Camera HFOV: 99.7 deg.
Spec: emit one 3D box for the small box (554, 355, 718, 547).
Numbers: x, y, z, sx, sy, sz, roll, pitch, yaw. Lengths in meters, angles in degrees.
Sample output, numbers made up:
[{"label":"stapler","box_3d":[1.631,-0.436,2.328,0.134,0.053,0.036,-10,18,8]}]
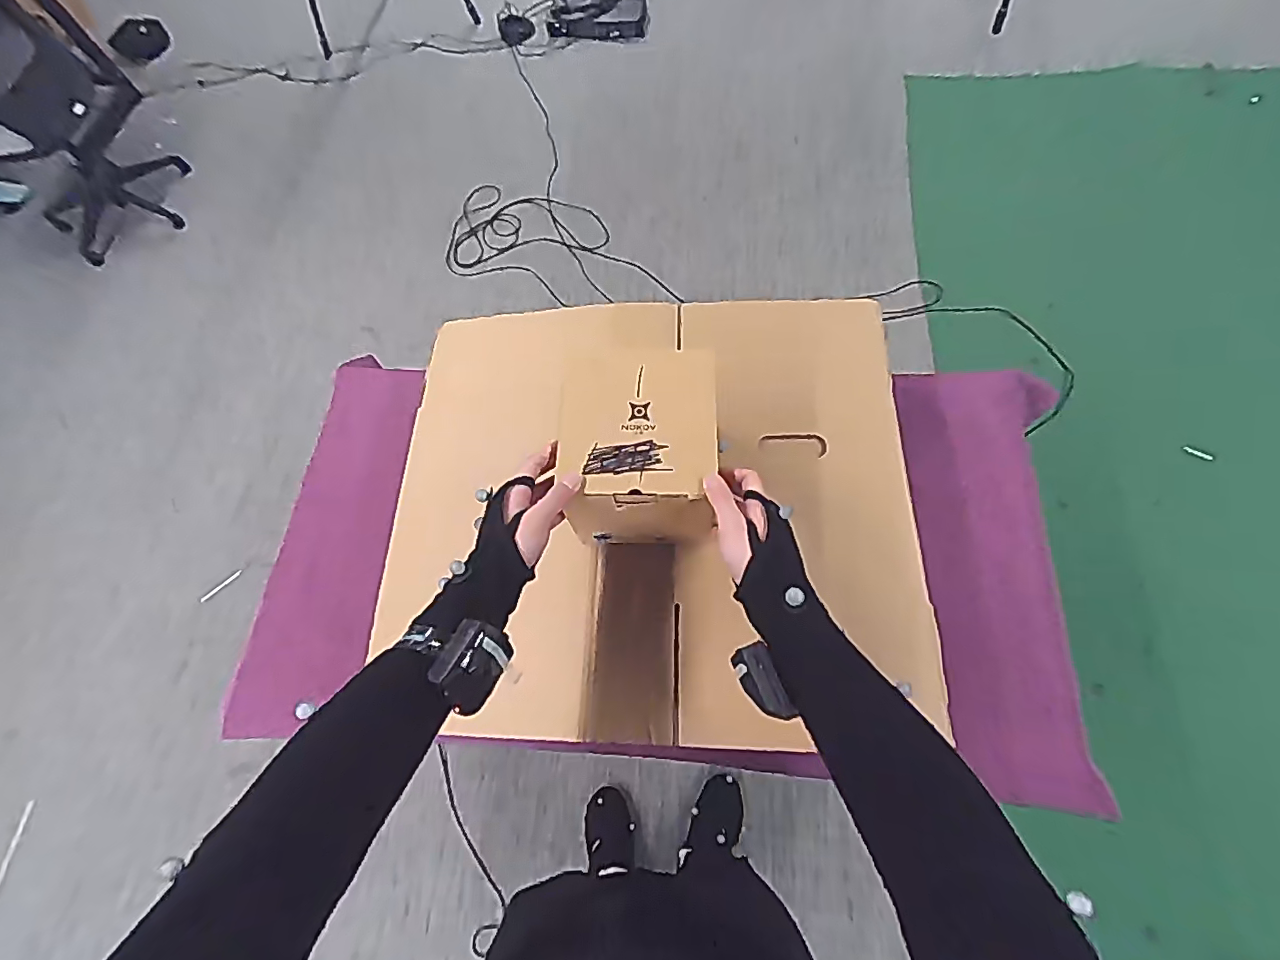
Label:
[{"label":"small box","box_3d":[0.004,-0.025,0.634,0.168,0.176,0.179,0,66,3]}]
